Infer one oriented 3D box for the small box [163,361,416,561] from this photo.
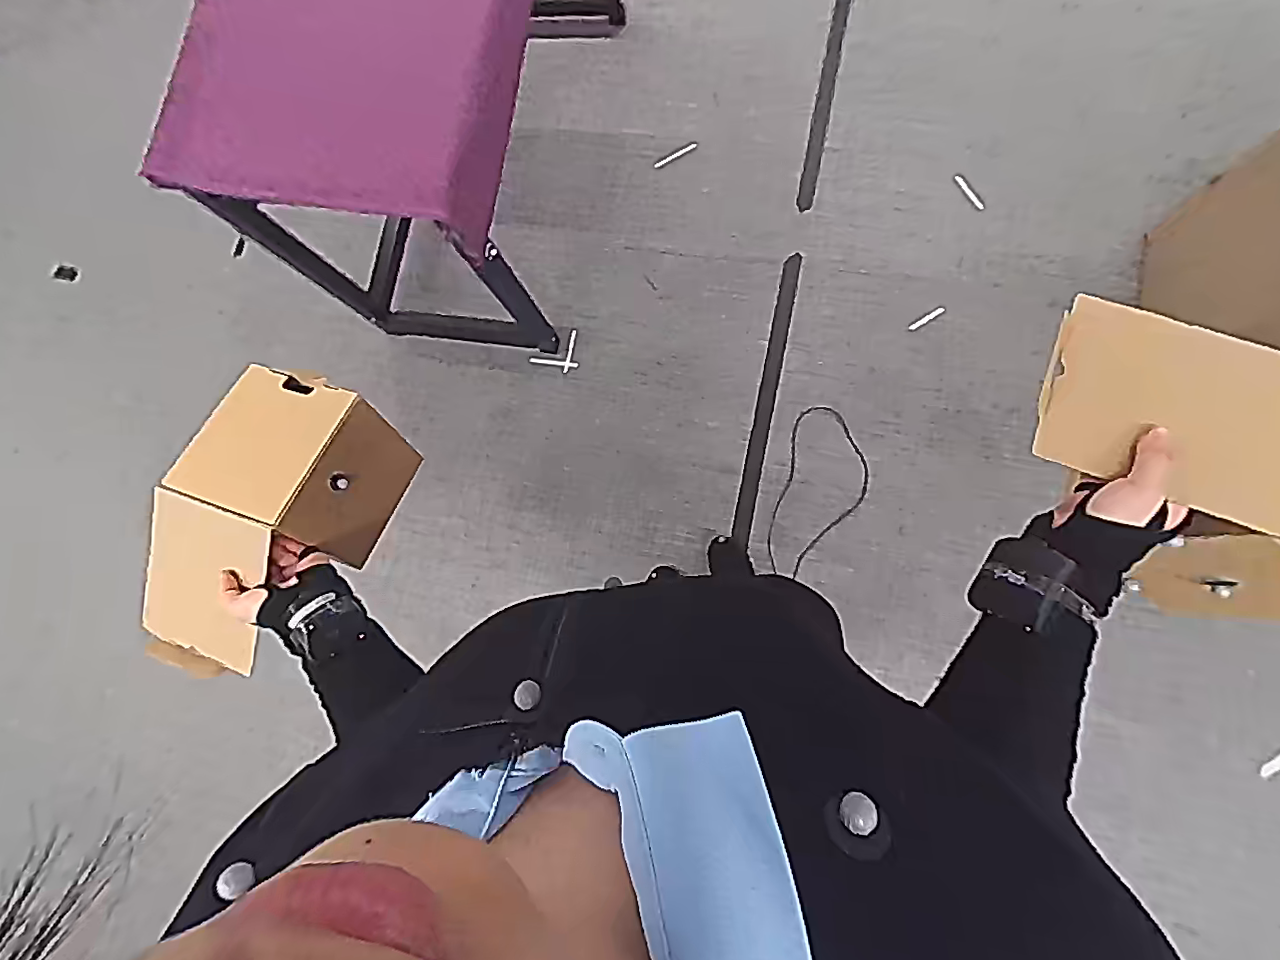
[{"bbox_3d":[-0.421,-0.016,0.686,0.168,0.176,0.179,17,67,12],"label":"small box"}]
